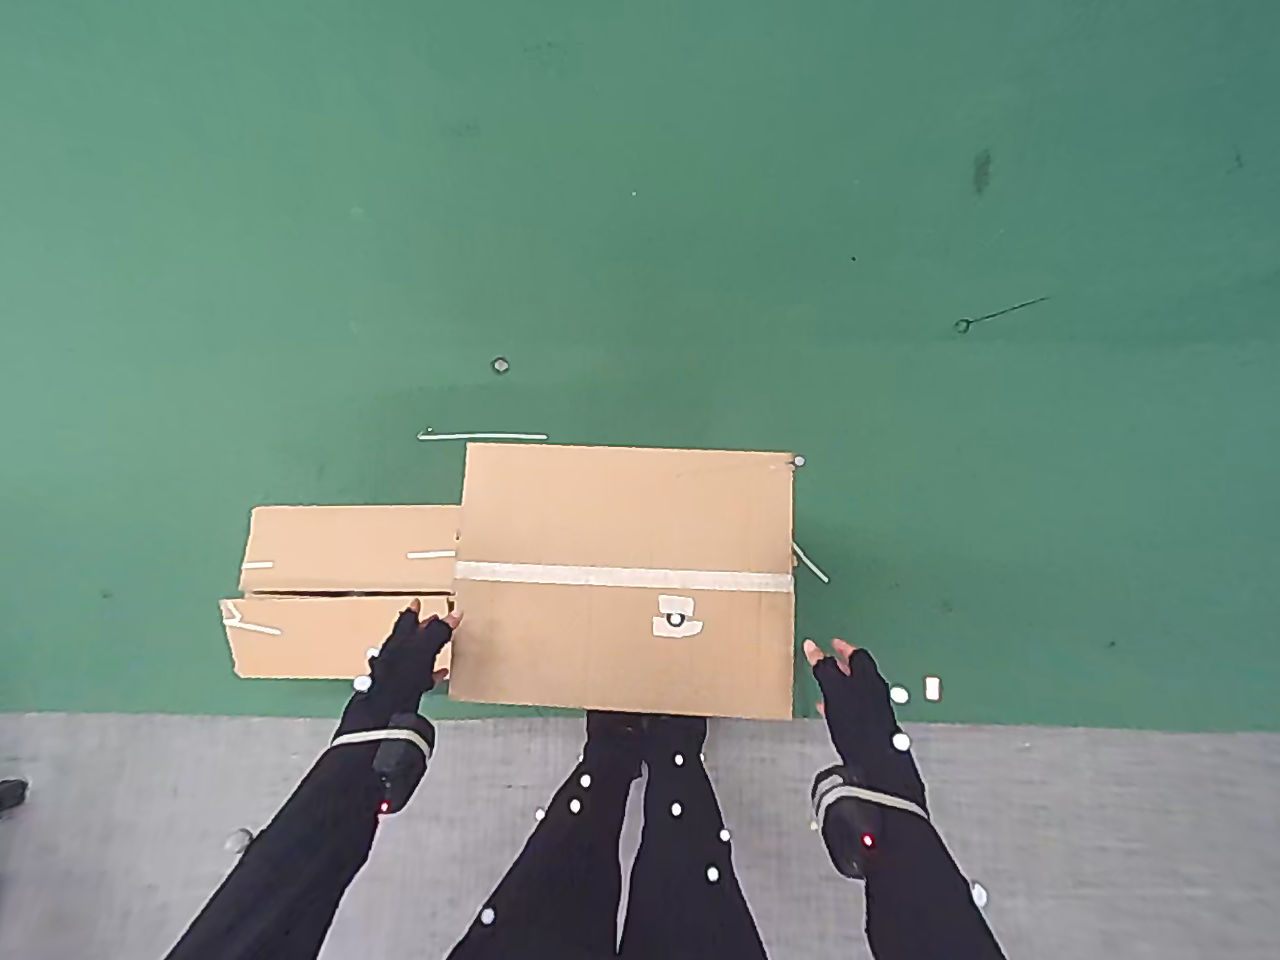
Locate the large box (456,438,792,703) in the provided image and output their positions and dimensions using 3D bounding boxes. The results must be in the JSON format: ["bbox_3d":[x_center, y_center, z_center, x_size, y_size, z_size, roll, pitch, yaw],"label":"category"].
[{"bbox_3d":[-0.015,0.121,0.797,0.408,0.320,0.320,2,84,2],"label":"large box"}]
